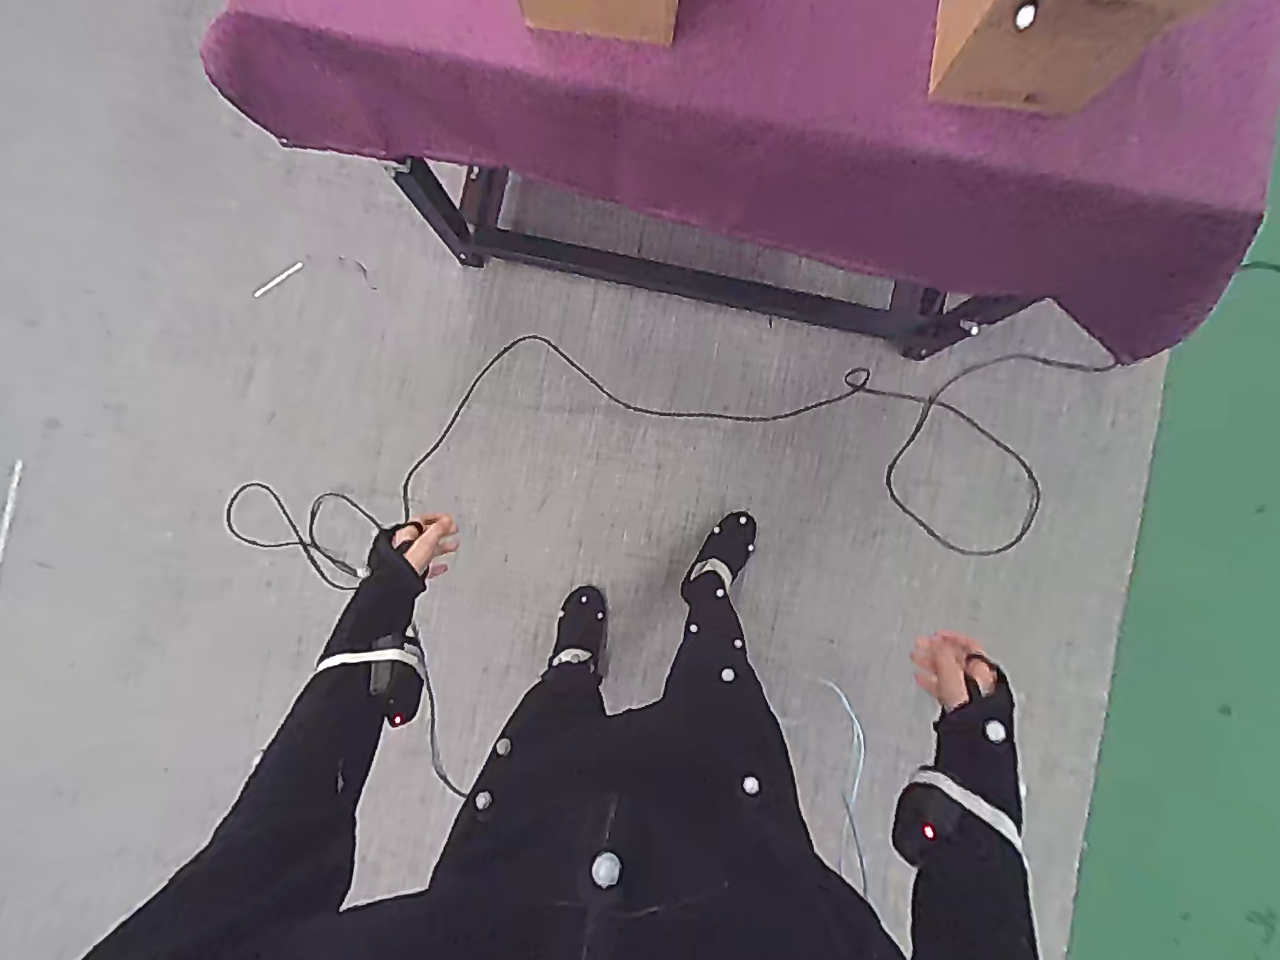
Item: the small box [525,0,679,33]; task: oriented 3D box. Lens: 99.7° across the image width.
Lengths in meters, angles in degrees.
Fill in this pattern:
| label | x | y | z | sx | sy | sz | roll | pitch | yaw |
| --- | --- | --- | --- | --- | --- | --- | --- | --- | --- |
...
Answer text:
| label | x | y | z | sx | sy | sz | roll | pitch | yaw |
| --- | --- | --- | --- | --- | --- | --- | --- | --- | --- |
| small box | -0.038 | -0.599 | 0.541 | 0.179 | 0.176 | 0.168 | 9 | 89 | 2 |
